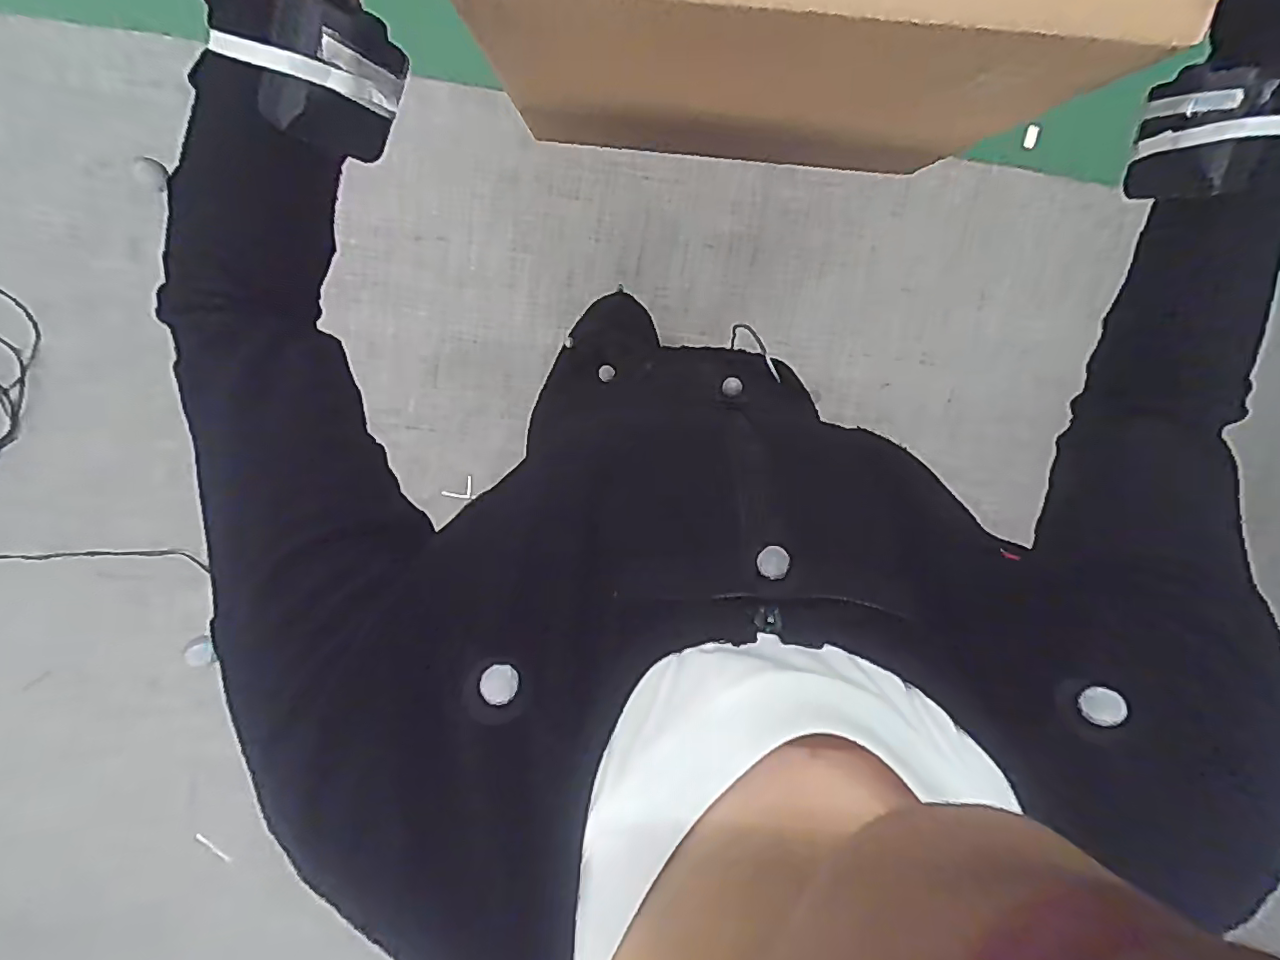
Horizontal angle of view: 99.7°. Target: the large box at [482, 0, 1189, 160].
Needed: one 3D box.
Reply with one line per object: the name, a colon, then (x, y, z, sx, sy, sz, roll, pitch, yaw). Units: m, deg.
large box: (0.104, -0.447, 0.384, 0.408, 0.320, 0.320, 3, 109, -3)
